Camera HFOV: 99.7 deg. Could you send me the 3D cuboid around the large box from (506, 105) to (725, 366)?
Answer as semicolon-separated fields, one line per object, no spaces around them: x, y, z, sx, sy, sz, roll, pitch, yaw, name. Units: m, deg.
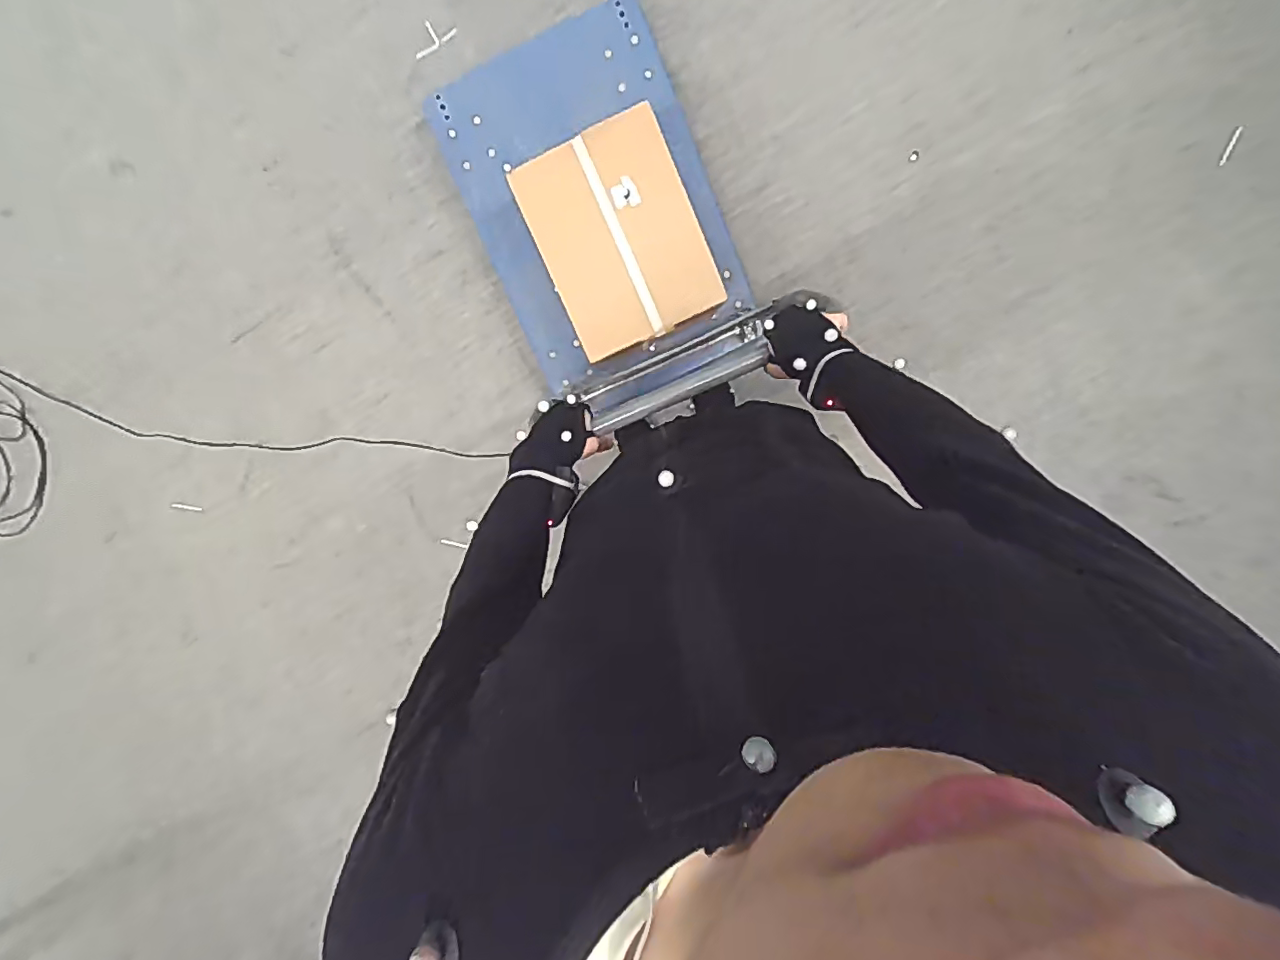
-0.041;-0.510;1.226;0.320;0.320;0.408;-24;98;5;large box
